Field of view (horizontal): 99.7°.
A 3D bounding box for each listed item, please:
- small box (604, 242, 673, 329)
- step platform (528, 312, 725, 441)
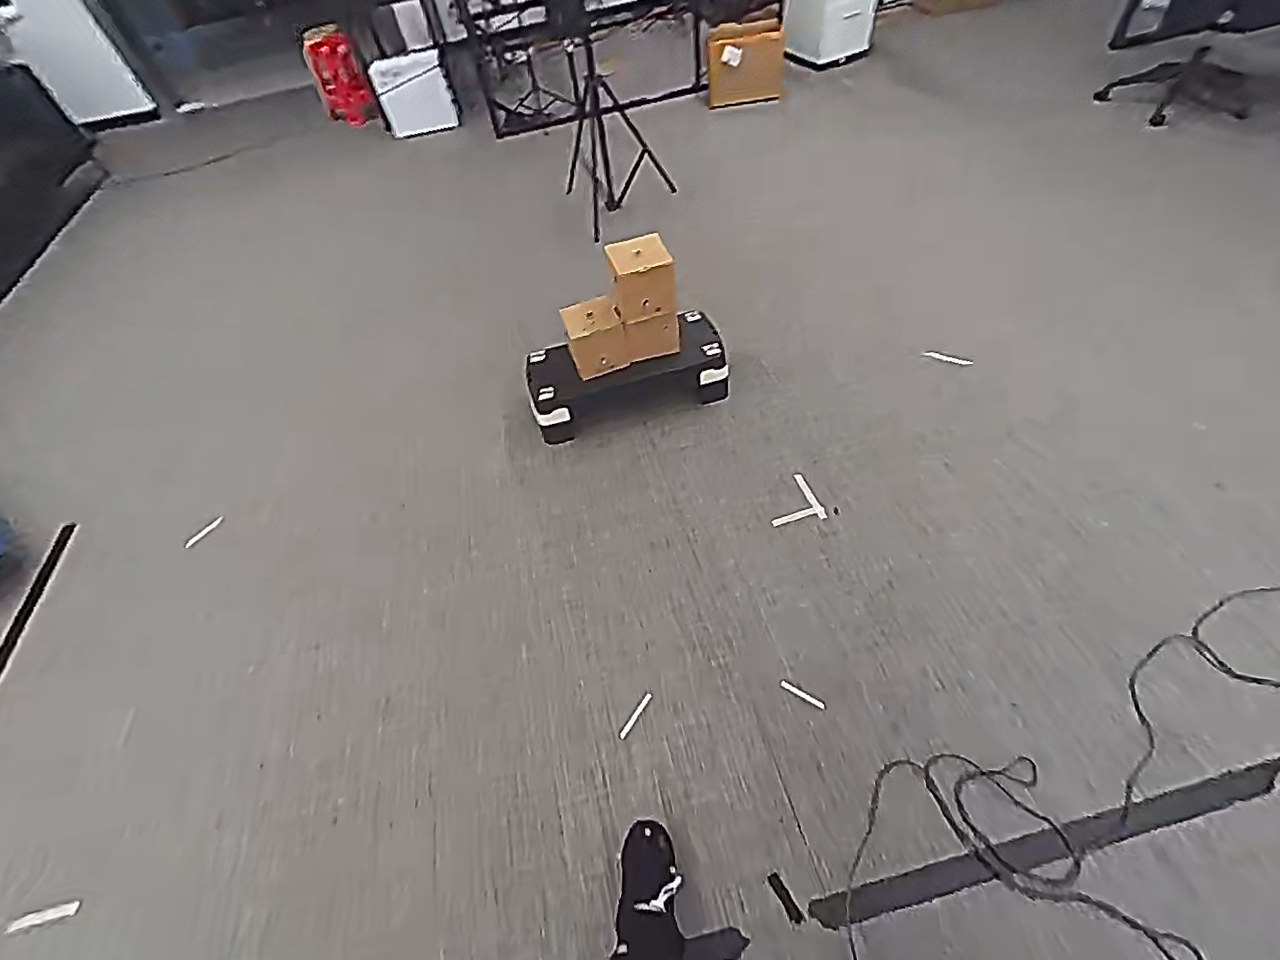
[{"bbox_3d":[-0.003,-0.593,1.654,0.168,0.176,0.179,-17,52,-6],"label":"small box"},{"bbox_3d":[-0.049,-0.373,1.918,0.684,0.204,0.286,-16,51,-4],"label":"step platform"}]
